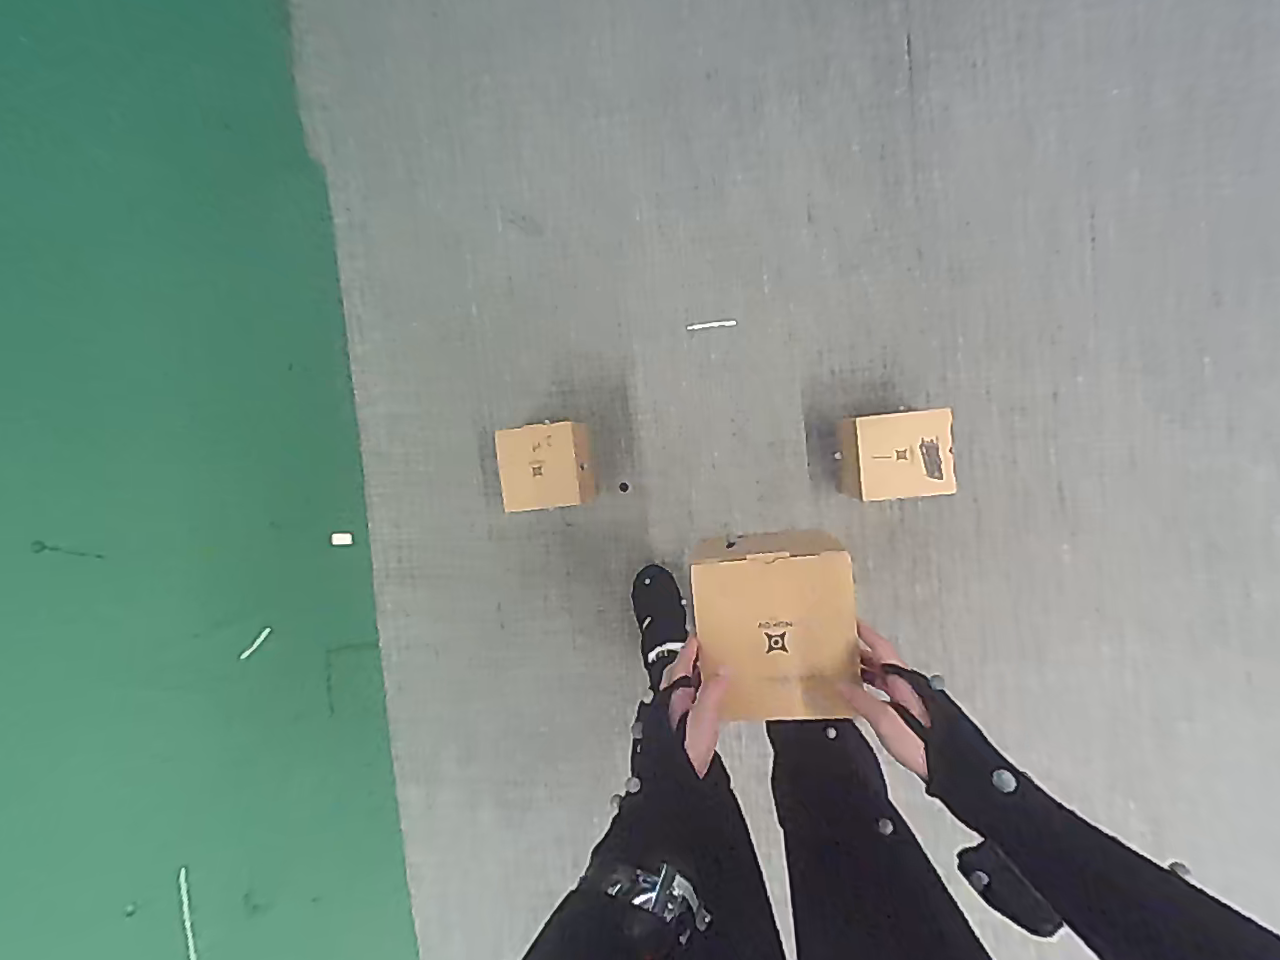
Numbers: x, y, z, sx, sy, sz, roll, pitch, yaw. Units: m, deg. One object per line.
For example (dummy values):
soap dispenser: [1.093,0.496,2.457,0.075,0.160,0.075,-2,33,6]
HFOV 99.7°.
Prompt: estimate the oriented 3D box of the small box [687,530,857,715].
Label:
small box: [0.147,0.155,0.639,0.168,0.176,0.179,-5,92,10]

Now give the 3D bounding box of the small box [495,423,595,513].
small box: [-0.201,-0.030,1.188,0.168,0.176,0.179,-6,93,6]

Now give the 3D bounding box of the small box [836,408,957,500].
small box: [0.513,-0.054,1.099,0.179,0.176,0.168,-5,93,8]
